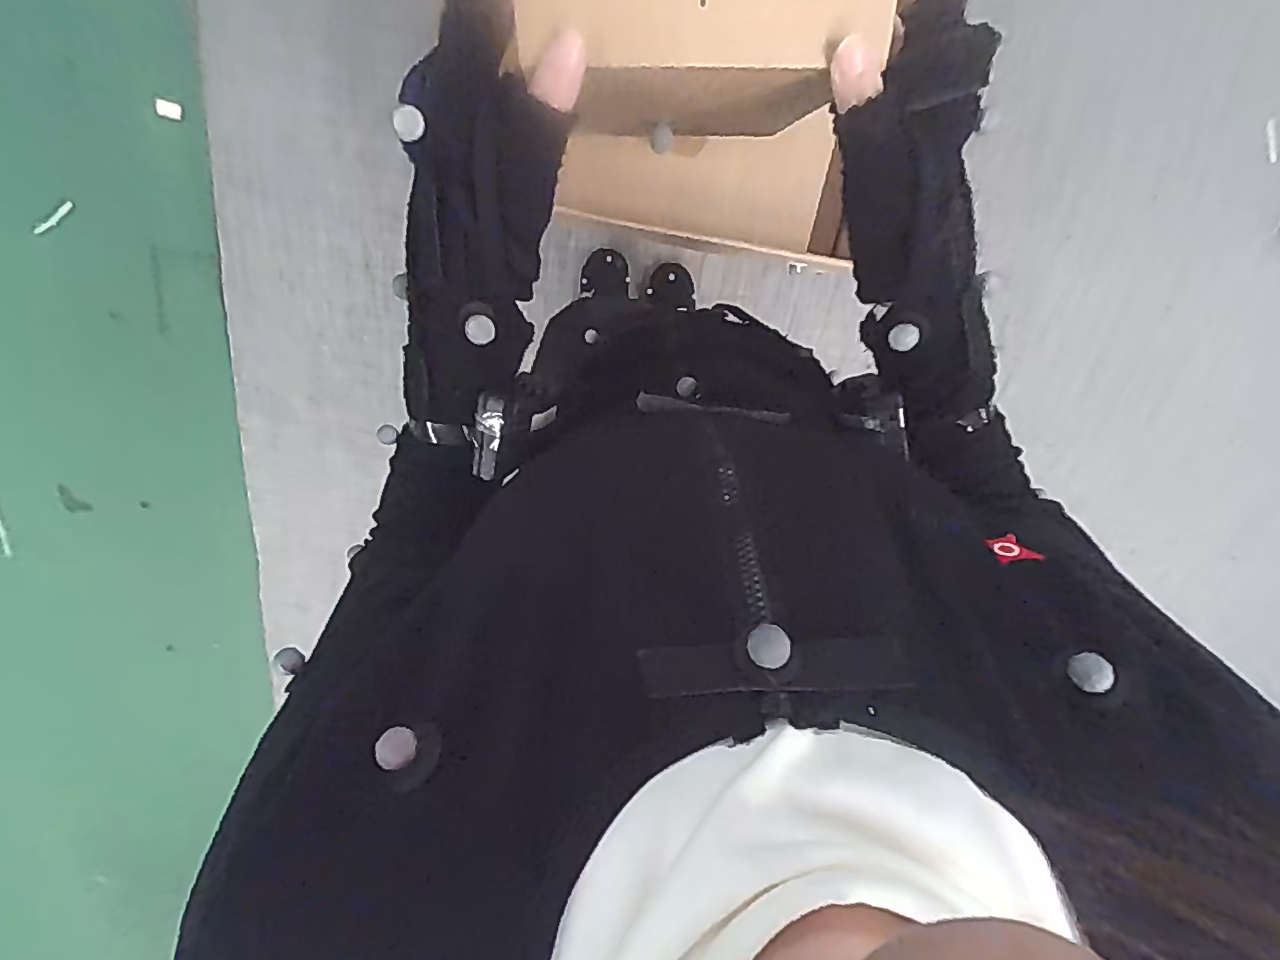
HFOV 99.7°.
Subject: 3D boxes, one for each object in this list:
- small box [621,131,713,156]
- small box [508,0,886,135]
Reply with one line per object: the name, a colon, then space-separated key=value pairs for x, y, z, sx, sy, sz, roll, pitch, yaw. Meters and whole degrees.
small box: x=0.037 y=-0.561 z=0.714 sx=0.168 sy=0.176 sz=0.179 roll=16 pitch=111 yaw=-8
small box: x=0.019 y=-0.295 z=0.277 sx=0.168 sy=0.176 sz=0.179 roll=-2 pitch=114 yaw=-3
